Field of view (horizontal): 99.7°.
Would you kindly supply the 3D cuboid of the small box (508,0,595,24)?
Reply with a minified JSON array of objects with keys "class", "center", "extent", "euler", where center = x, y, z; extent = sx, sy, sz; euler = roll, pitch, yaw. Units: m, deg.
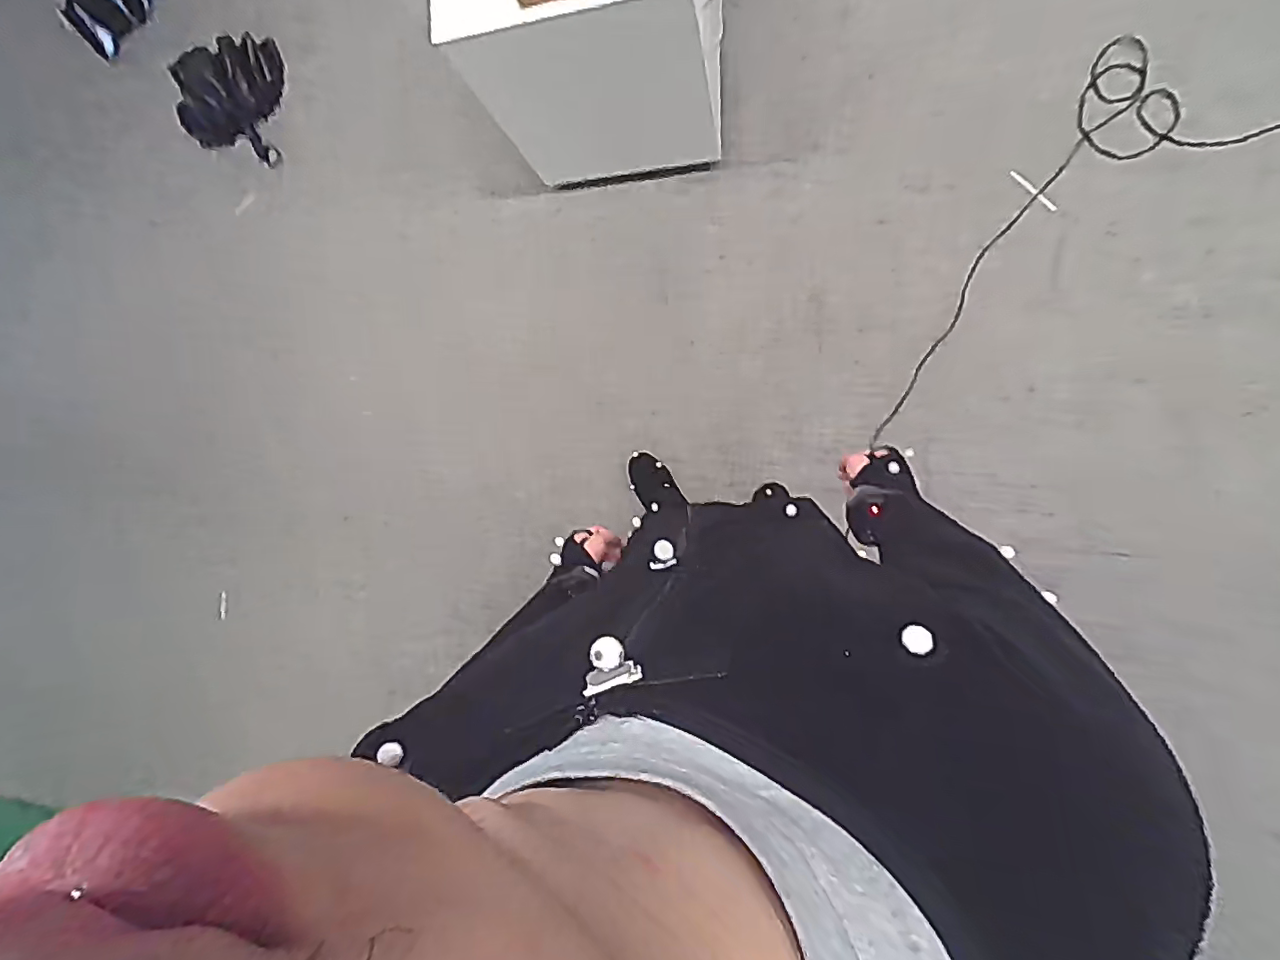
[{"class":"small box","center":[-0.175,-0.936,0.909],"extent":[0.168,0.176,0.179],"euler":[-5,88,14]}]
